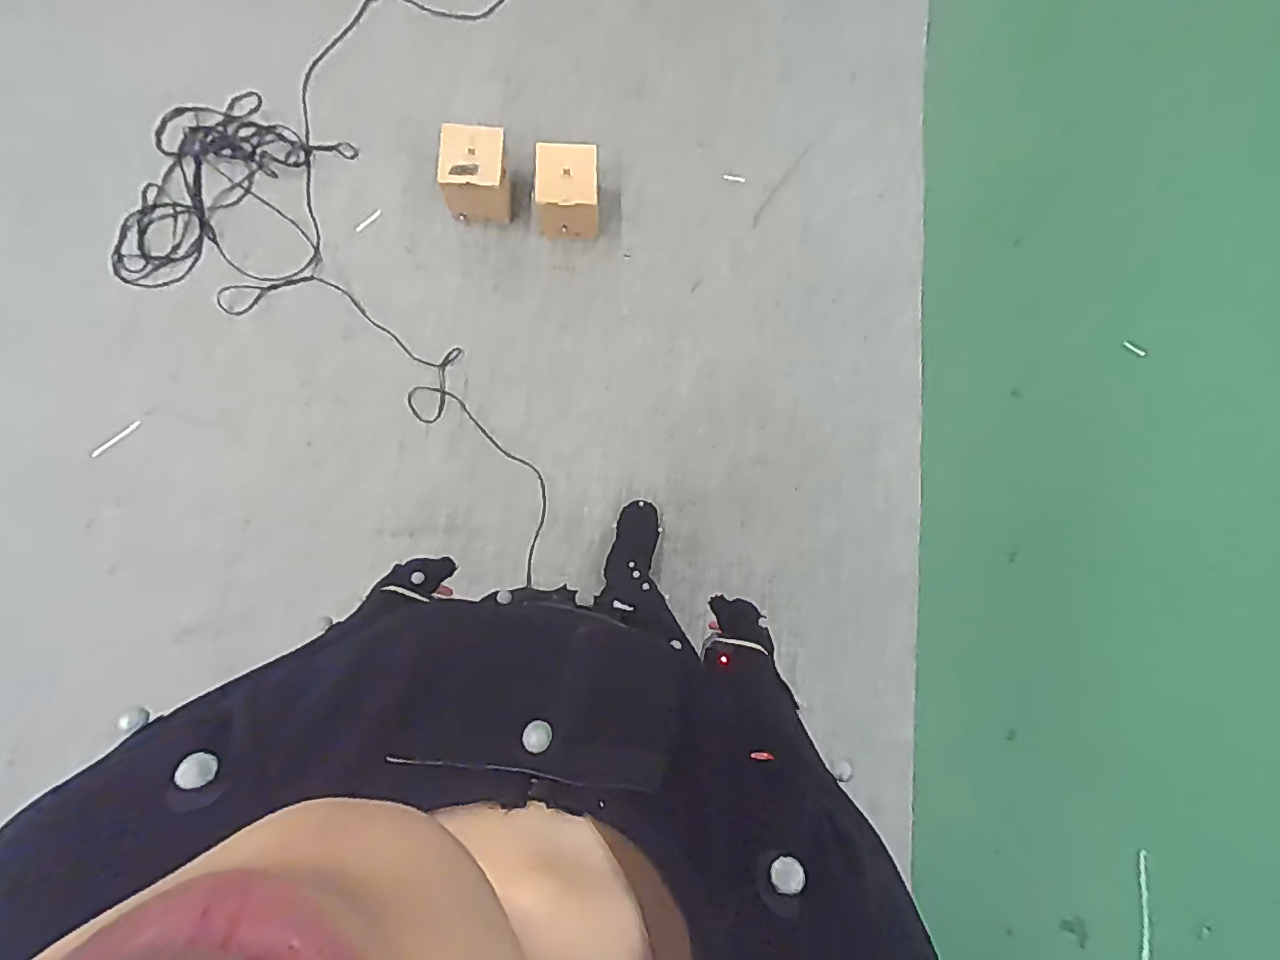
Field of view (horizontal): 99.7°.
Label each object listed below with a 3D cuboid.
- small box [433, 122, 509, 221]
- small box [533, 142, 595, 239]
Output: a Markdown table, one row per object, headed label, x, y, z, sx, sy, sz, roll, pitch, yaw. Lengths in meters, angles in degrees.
| label | x | y | z | sx | sy | sz | roll | pitch | yaw |
| --- | --- | --- | --- | --- | --- | --- | --- | --- | --- |
| small box | -0.463 | -0.849 | 1.505 | 0.168 | 0.176 | 0.179 | 2 | 82 | -4 |
| small box | -0.211 | -0.810 | 1.522 | 0.168 | 0.176 | 0.179 | -1 | 84 | -4 |
